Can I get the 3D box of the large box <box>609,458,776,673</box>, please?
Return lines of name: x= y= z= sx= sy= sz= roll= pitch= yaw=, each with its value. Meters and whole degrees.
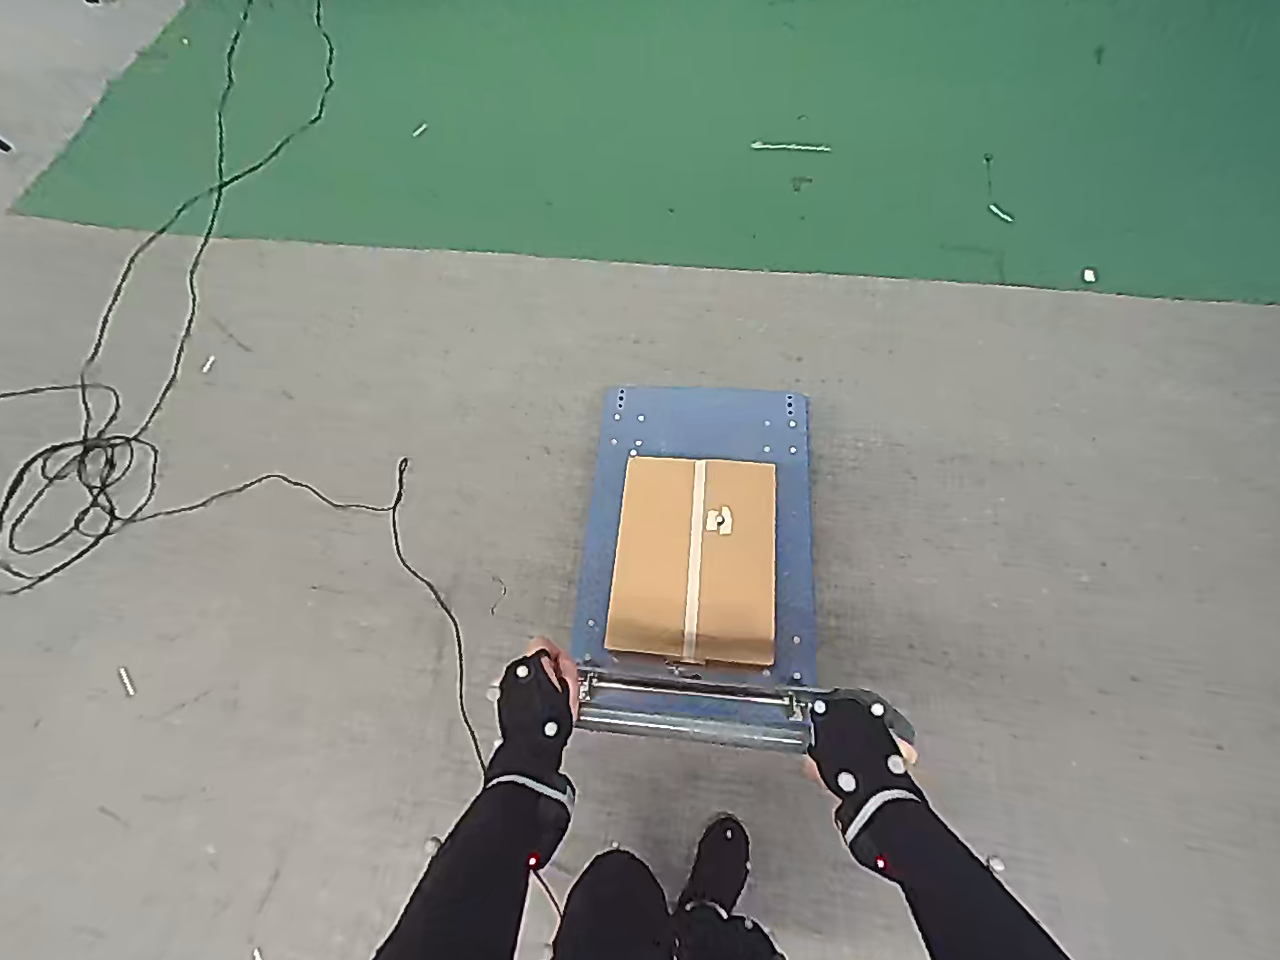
large box: x=0.122 y=0.201 z=1.205 sx=0.320 sy=0.320 sz=0.408 roll=3 pitch=66 yaw=6
